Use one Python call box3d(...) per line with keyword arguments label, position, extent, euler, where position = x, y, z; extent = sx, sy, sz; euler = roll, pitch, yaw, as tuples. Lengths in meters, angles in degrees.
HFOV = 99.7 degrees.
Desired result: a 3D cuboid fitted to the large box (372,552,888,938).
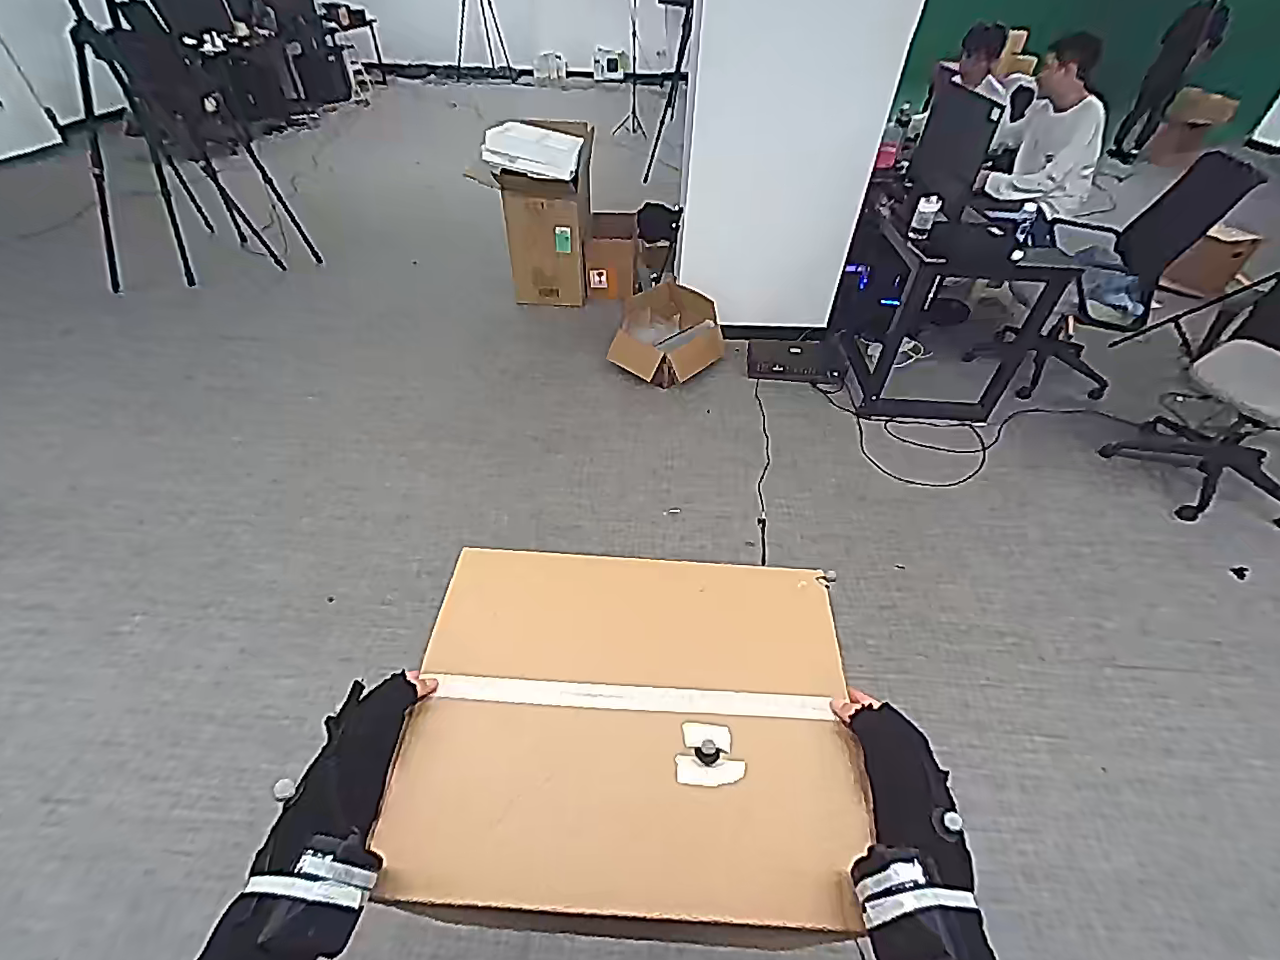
box3d(label="large box", position=(-0.009, 0.305, 0.618), extent=(0.408, 0.320, 0.320), euler=(4, 48, 0))
